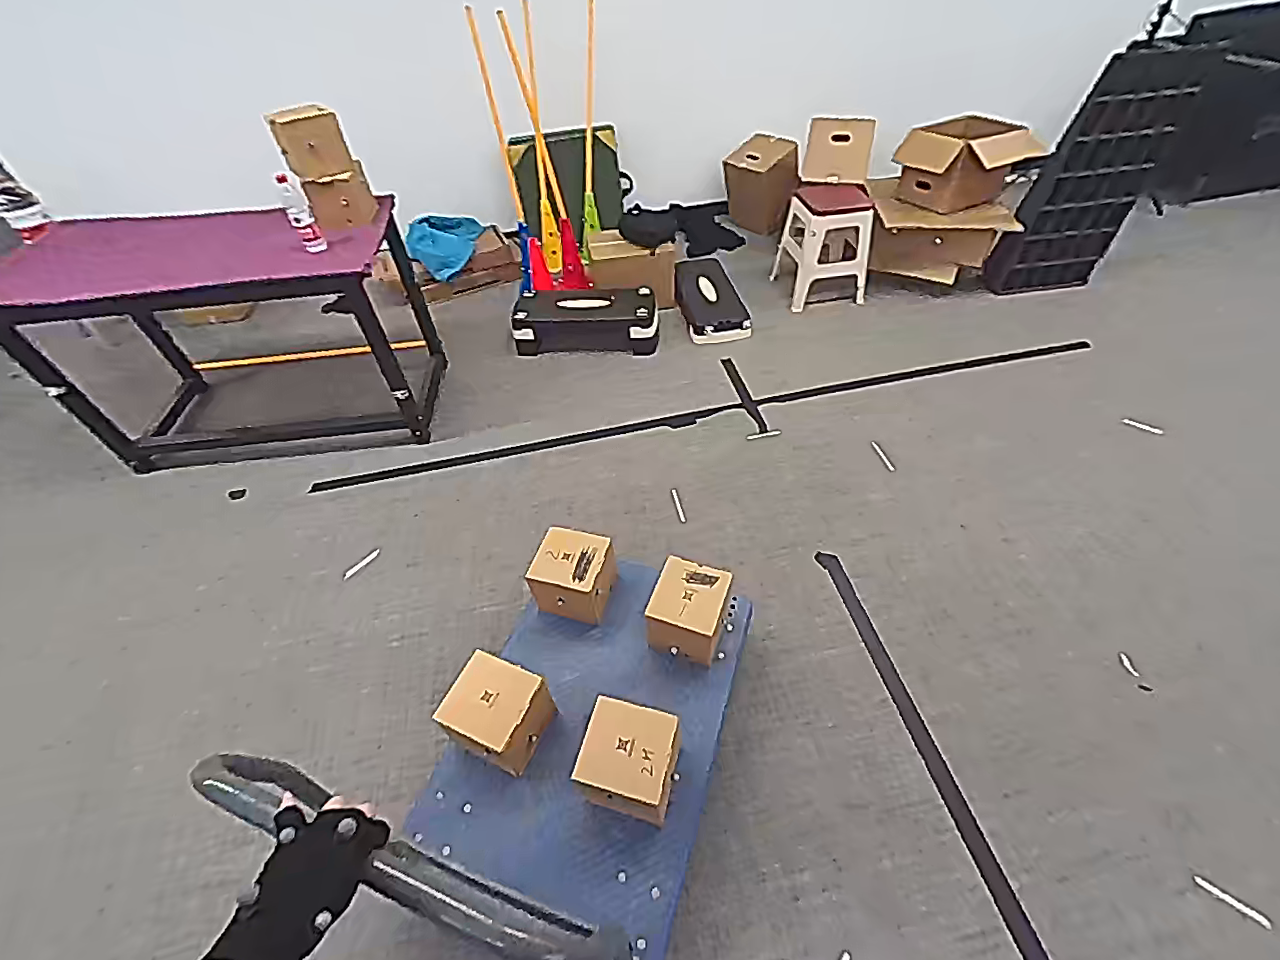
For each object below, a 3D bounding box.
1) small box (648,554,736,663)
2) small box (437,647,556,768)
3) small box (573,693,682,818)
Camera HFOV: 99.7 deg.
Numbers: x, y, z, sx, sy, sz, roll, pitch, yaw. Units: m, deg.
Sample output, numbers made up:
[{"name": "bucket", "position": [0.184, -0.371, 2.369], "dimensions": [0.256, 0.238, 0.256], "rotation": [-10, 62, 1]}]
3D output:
[{"name": "small box", "position": [0.128, 0.317, 1.329], "dimensions": [0.168, 0.176, 0.179], "rotation": [15, 52, 18]}, {"name": "small box", "position": [-0.308, 0.505, 1.194], "dimensions": [0.179, 0.176, 0.168], "rotation": [17, 51, 17]}, {"name": "small box", "position": [-0.017, 0.569, 1.110], "dimensions": [0.179, 0.176, 0.168], "rotation": [10, 50, 14]}]
